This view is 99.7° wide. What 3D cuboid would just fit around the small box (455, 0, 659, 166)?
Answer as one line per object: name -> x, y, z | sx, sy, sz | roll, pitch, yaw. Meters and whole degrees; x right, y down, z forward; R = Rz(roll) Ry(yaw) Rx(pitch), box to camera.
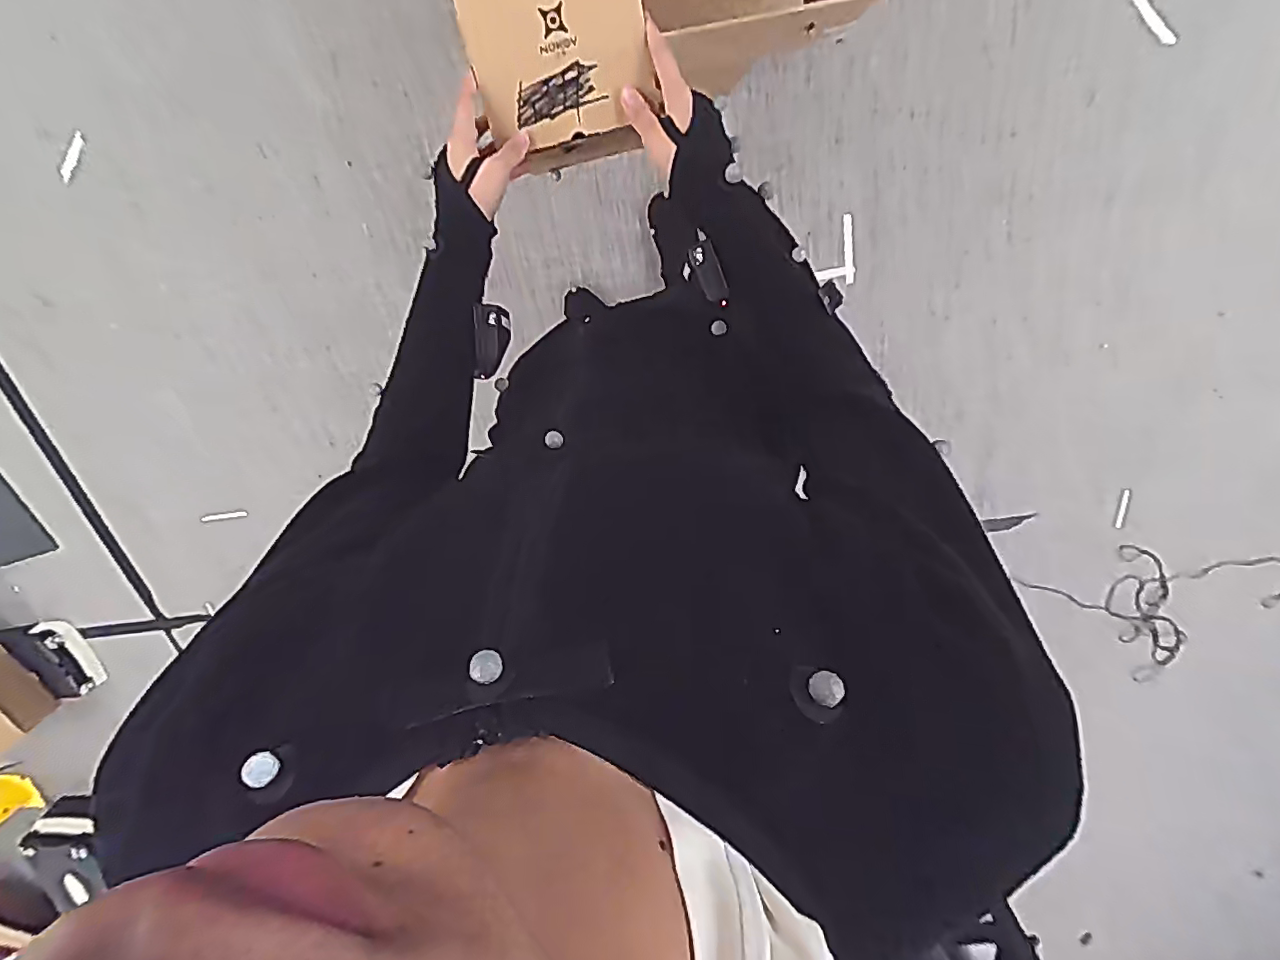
small box -> -0.074, -0.440, 0.559 | 0.168, 0.176, 0.179 | -11, 114, 6
